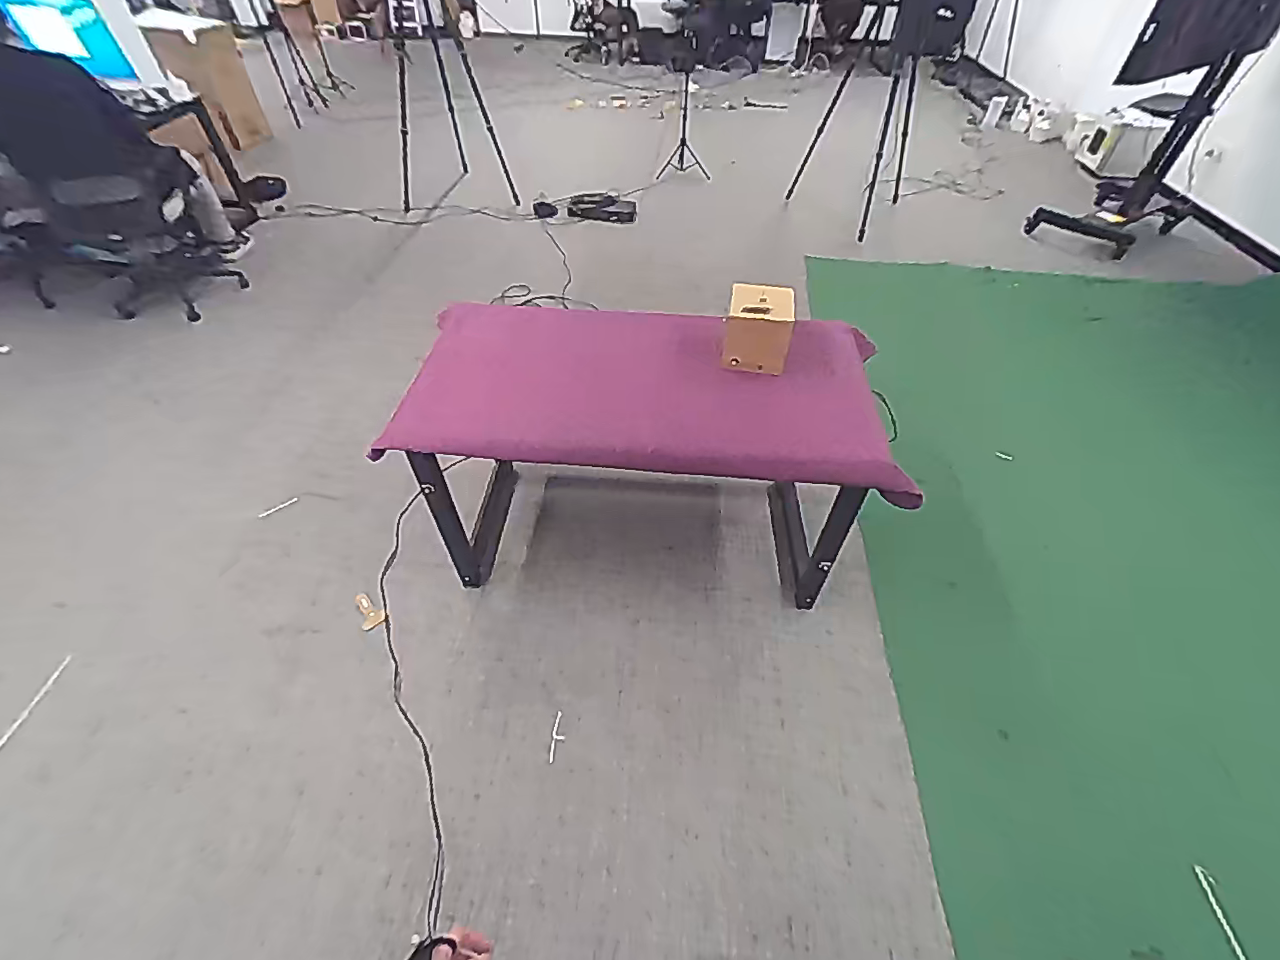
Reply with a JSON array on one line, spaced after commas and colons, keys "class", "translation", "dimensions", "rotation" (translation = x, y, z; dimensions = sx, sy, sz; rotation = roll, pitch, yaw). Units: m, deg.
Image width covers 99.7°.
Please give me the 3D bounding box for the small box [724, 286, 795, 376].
[{"class": "small box", "translation": [0.325, -0.404, 1.478], "dimensions": [0.168, 0.176, 0.179], "rotation": [9, 47, 7]}]
